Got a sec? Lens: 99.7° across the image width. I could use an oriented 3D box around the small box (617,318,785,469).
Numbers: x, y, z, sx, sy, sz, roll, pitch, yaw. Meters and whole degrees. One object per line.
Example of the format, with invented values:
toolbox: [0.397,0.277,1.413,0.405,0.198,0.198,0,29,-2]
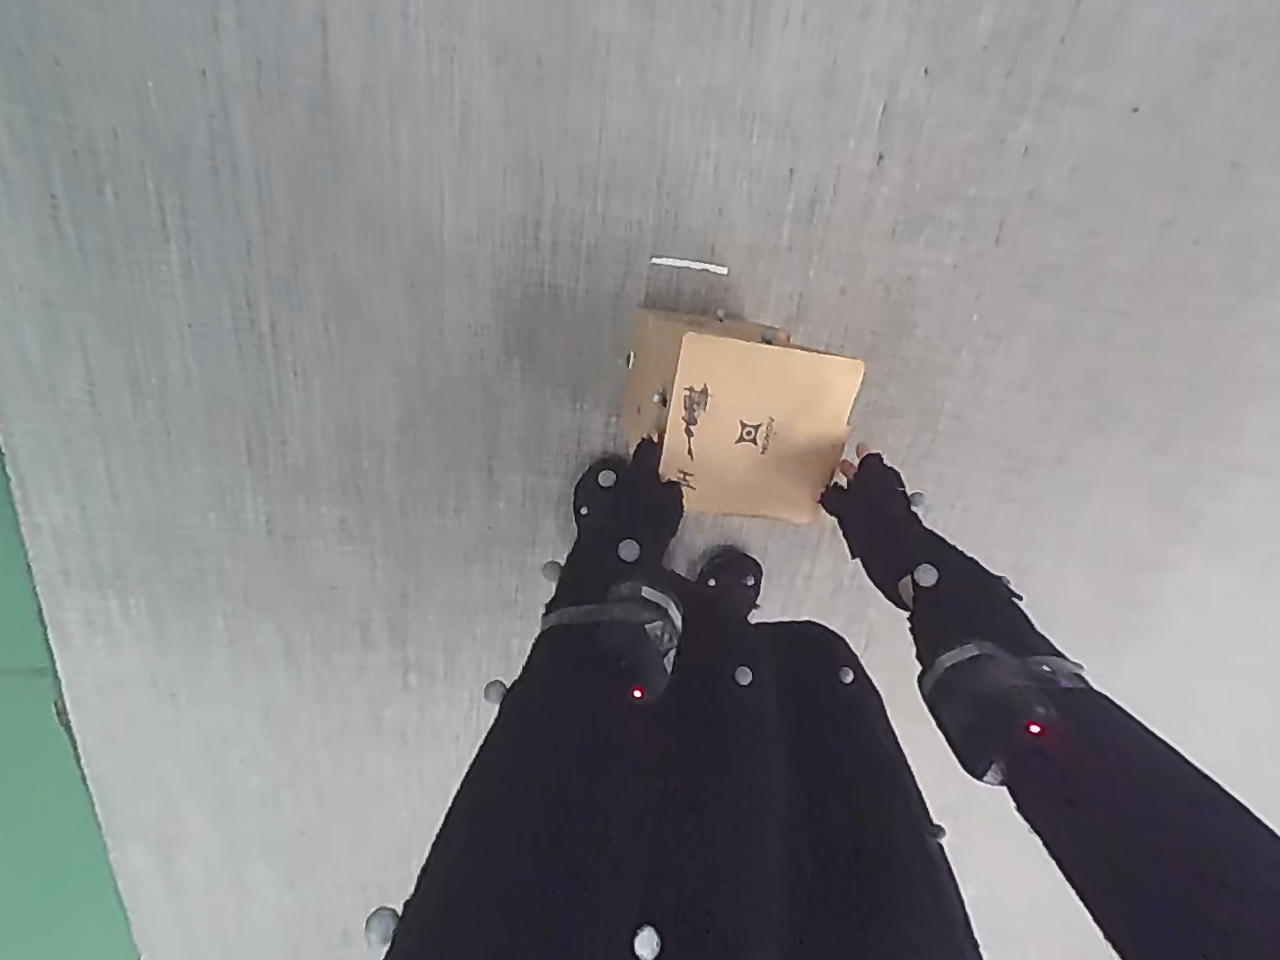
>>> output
small box: [0.069,-0.123,0.730,0.179,0.176,0.168,4,109,-8]
